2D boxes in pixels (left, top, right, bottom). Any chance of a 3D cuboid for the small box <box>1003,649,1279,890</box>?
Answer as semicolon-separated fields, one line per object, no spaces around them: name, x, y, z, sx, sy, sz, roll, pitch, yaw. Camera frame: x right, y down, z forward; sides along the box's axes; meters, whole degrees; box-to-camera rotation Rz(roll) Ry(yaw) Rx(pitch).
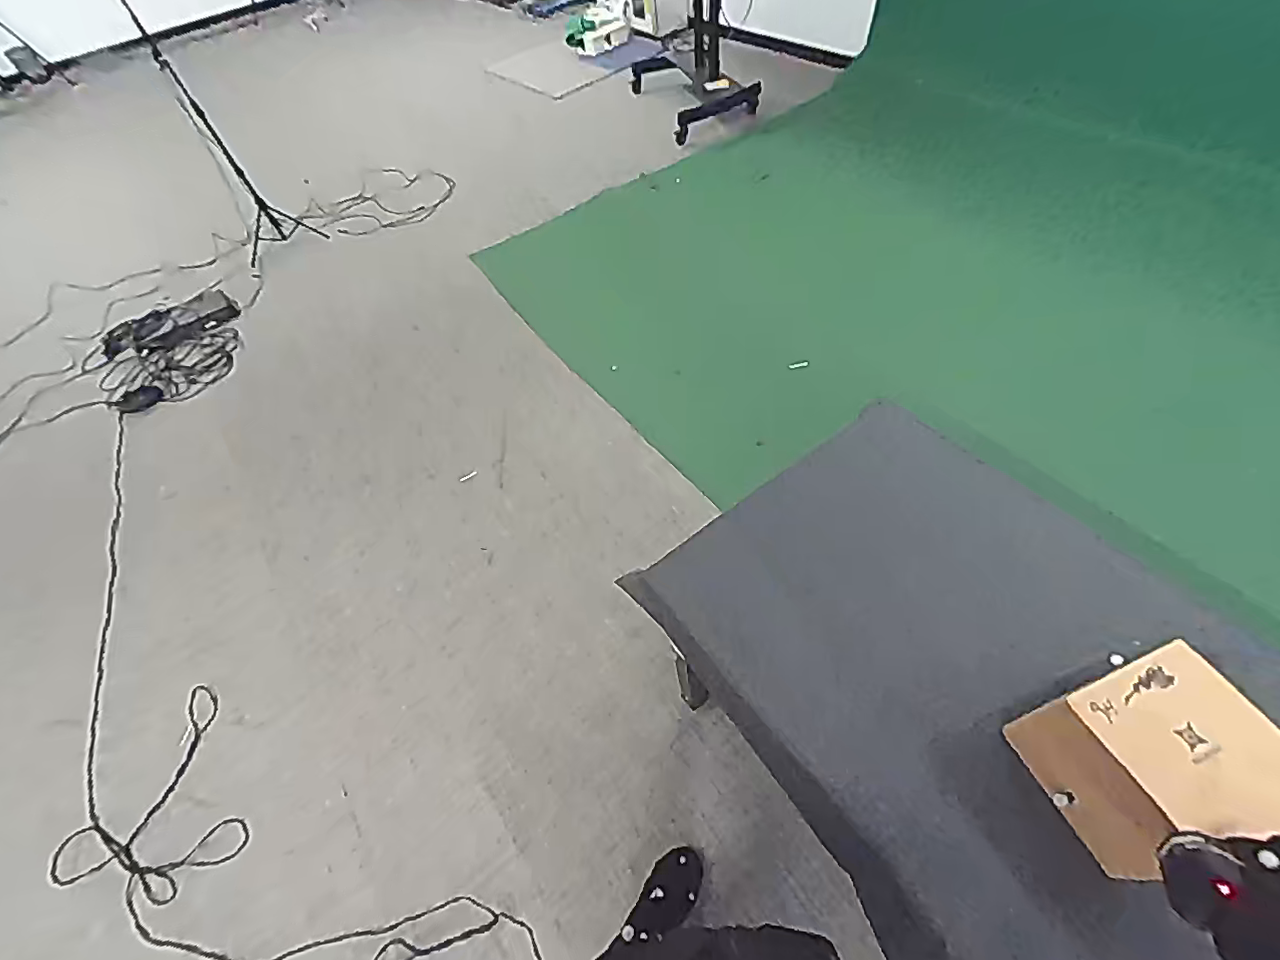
small box;0.568;0.324;0.609;0.168;0.176;0.179;-20;54;-8
